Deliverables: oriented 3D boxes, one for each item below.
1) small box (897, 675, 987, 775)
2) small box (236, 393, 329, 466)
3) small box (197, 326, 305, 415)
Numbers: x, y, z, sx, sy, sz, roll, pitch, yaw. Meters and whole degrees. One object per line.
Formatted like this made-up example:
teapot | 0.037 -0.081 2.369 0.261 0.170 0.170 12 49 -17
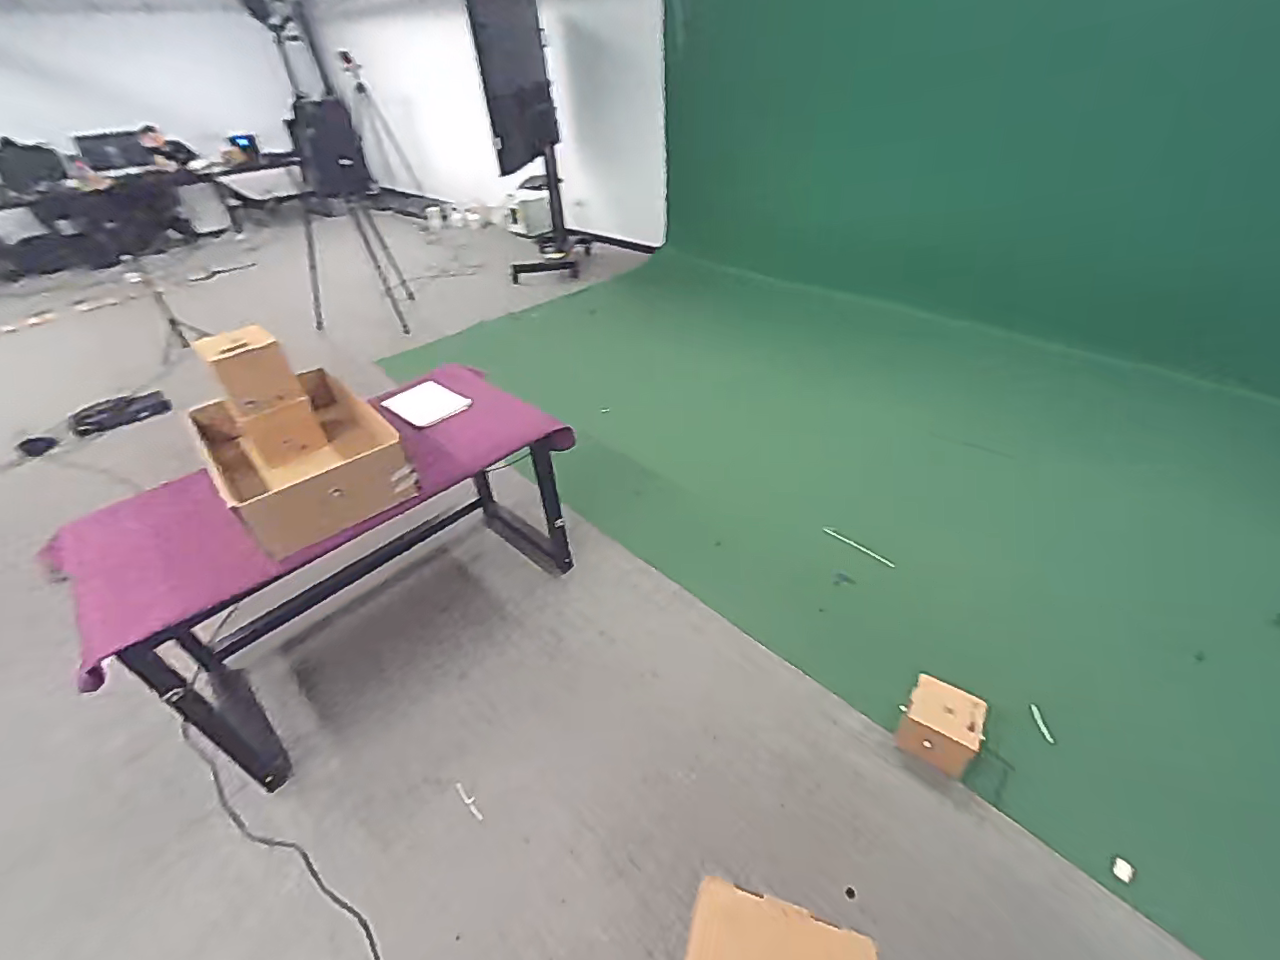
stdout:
small box | 0.862 0.707 1.554 0.179 0.176 0.168 21 45 28
small box | -1.048 -0.166 1.579 0.179 0.176 0.168 31 49 34
small box | -1.059 -0.298 1.481 0.179 0.176 0.168 30 48 34
